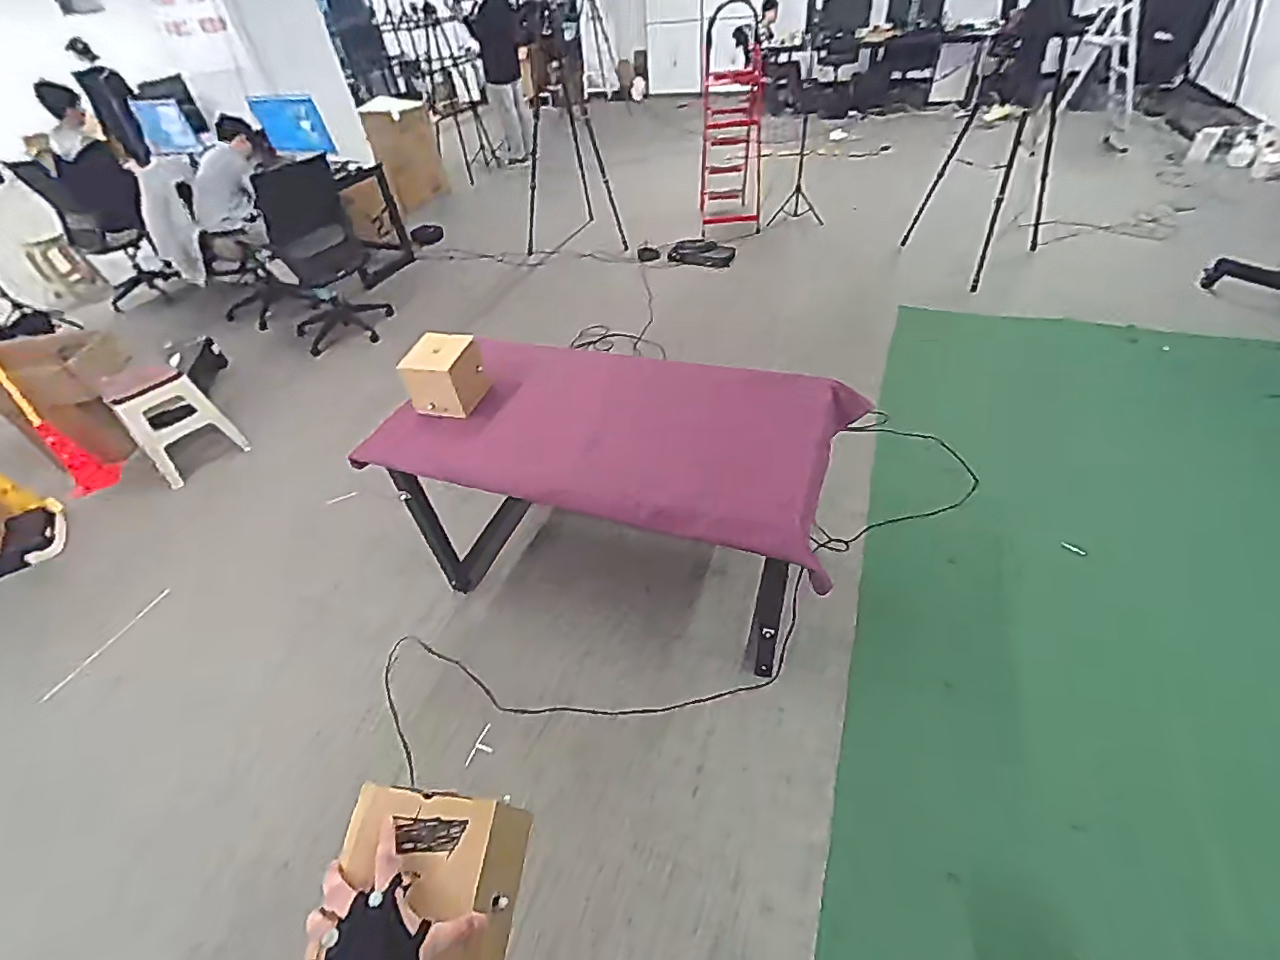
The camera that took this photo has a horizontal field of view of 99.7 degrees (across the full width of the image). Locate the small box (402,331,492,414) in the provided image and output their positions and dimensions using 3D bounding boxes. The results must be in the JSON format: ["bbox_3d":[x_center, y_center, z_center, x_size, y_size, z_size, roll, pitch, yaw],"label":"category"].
[{"bbox_3d":[-0.559,-0.318,1.596,0.168,0.176,0.179,7,46,15],"label":"small box"}]

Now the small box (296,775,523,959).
[{"bbox_3d":[-0.252,0.470,0.646,0.168,0.176,0.179,3,57,9],"label":"small box"}]
